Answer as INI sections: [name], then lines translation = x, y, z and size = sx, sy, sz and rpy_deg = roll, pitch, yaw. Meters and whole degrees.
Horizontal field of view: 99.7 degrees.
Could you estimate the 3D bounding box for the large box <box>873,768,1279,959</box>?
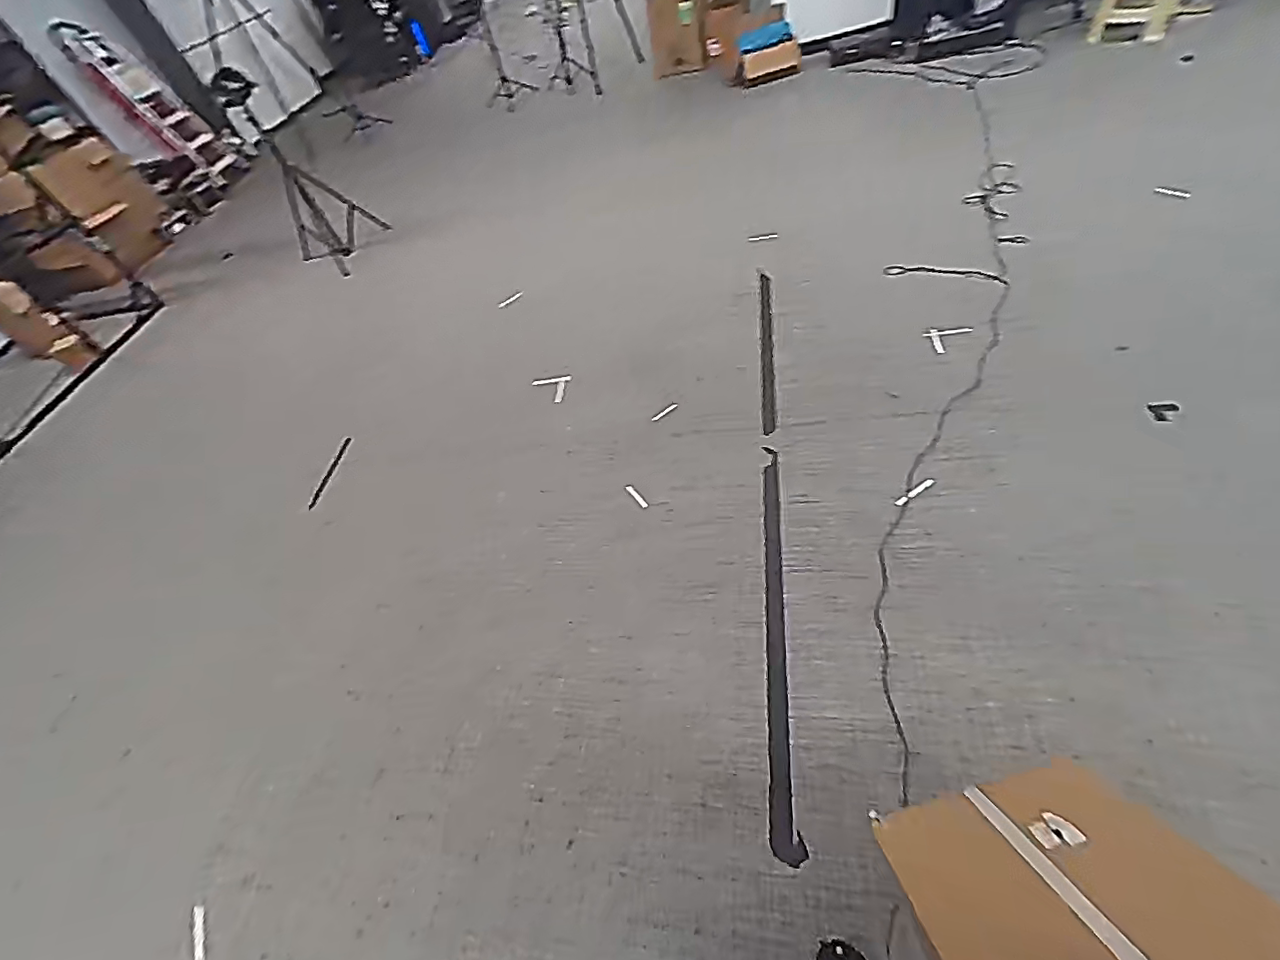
[large box]
translation = 0.533, 0.613, 0.609
size = 0.320, 0.408, 0.320
rpy_deg = -20, 85, 4
